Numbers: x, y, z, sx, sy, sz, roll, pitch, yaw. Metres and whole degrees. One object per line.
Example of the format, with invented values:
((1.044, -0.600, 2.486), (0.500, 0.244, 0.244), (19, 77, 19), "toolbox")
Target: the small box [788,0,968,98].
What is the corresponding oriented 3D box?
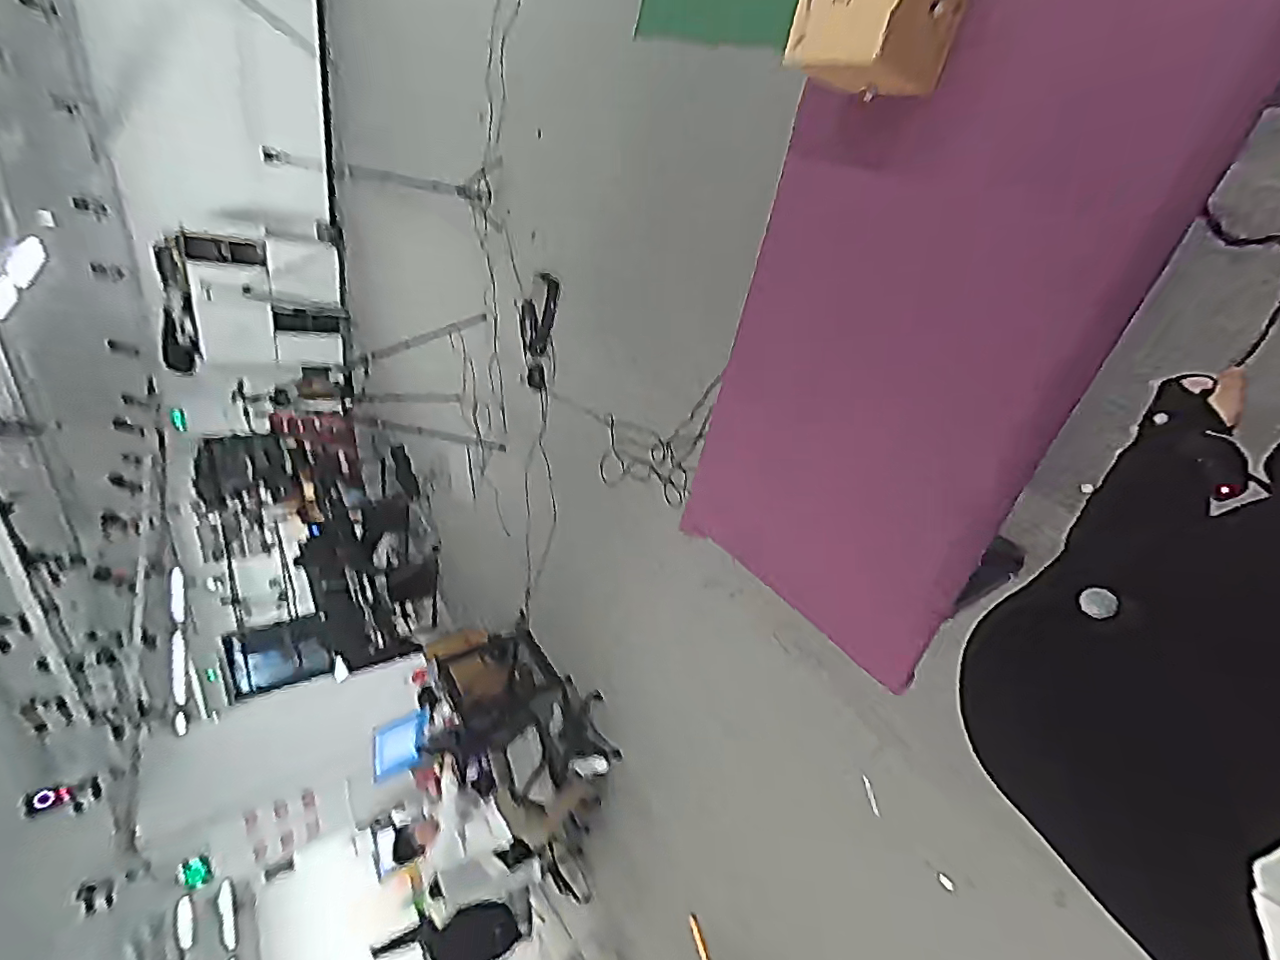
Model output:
((0.365, -0.698, 0.818), (0.179, 0.176, 0.168), (40, 129, 41), "small box")
